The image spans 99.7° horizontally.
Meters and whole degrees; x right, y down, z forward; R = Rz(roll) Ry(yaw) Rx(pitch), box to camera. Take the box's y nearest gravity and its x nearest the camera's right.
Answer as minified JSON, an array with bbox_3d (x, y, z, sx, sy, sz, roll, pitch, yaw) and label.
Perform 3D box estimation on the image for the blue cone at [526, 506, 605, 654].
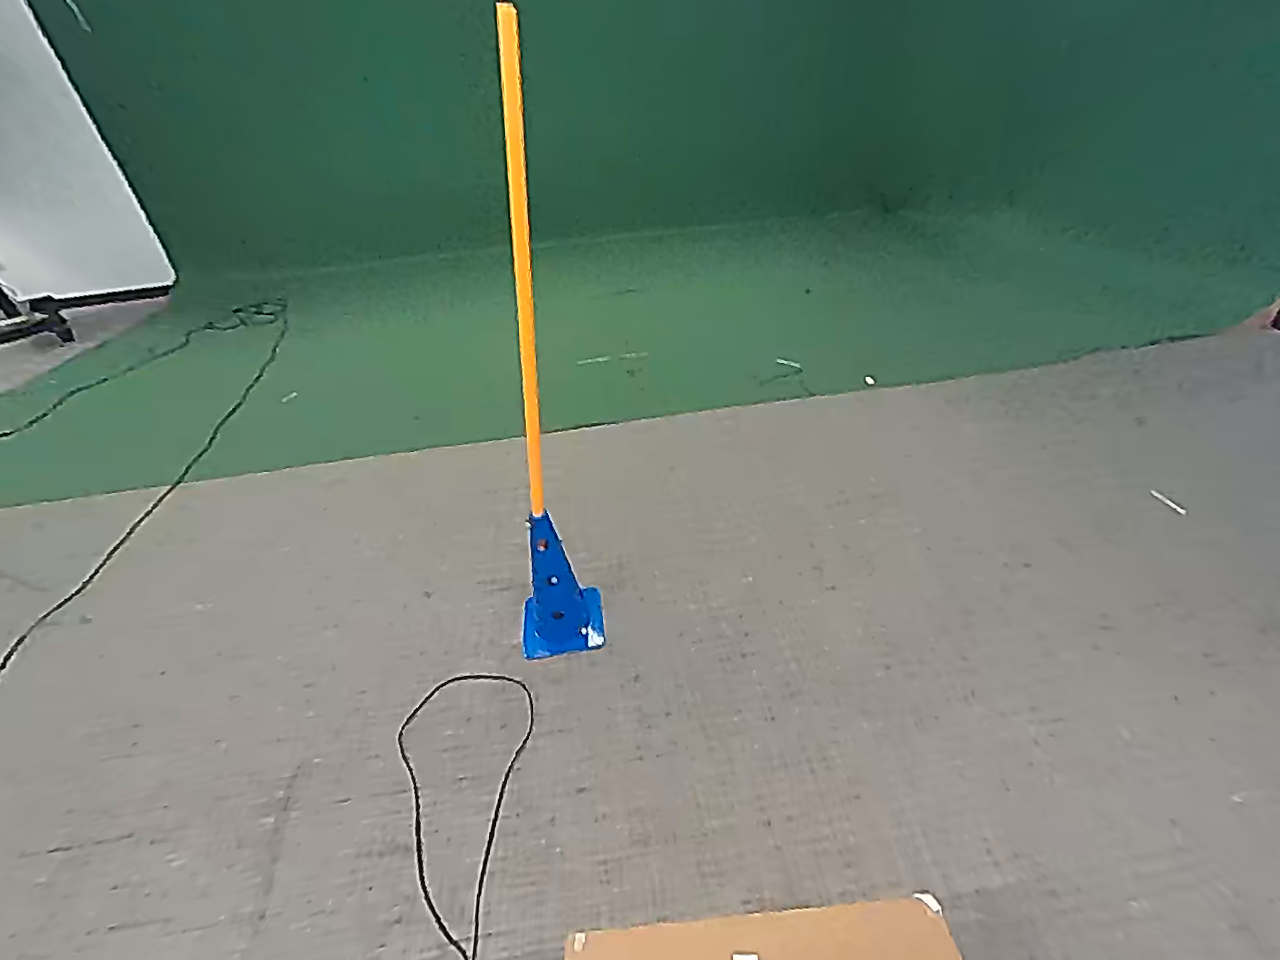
[{"bbox_3d":[-0.199,0.213,1.266,0.193,0.380,0.192,-9,36,-7],"label":"blue cone"}]
